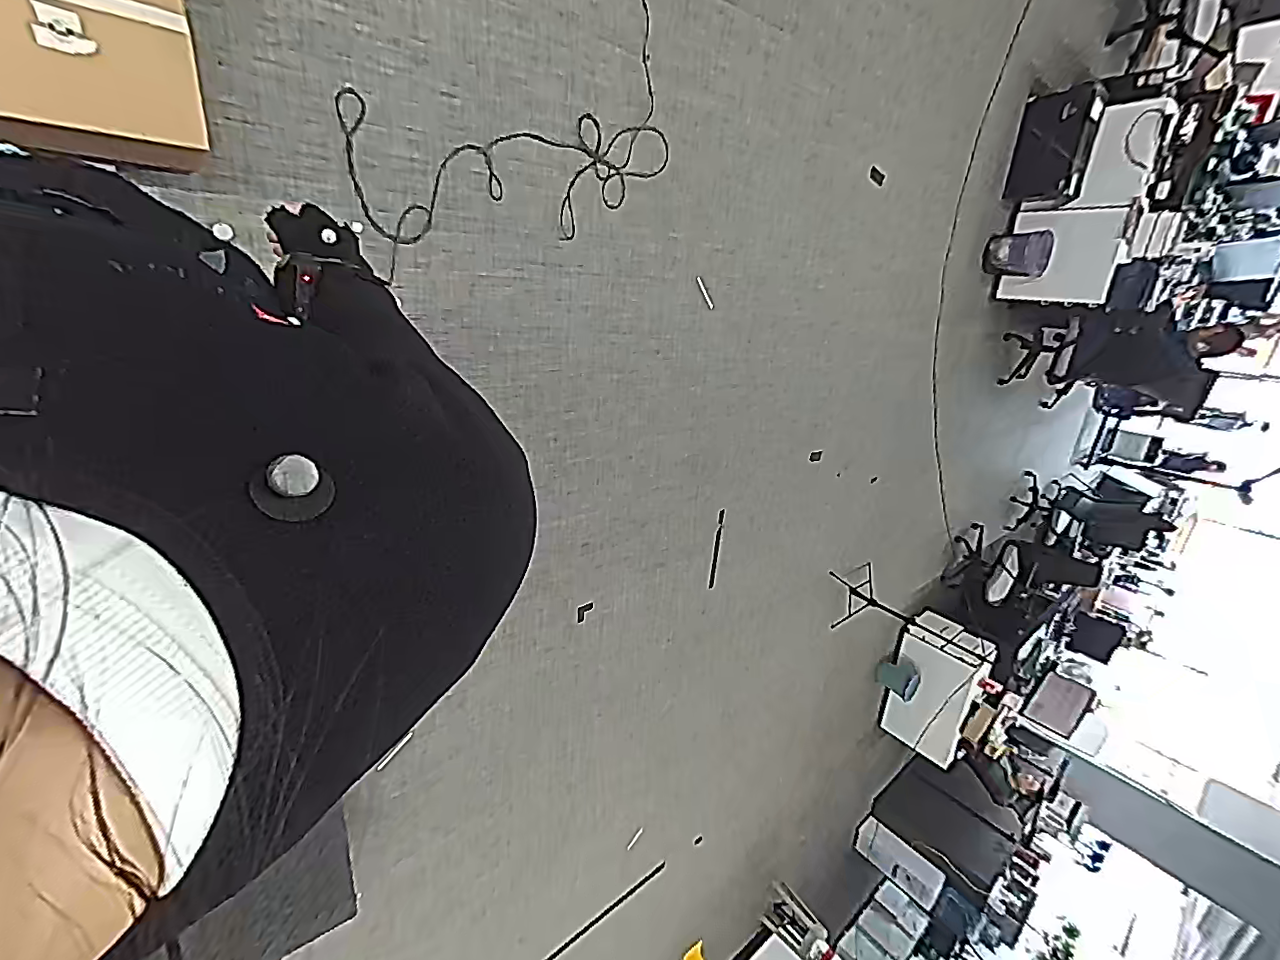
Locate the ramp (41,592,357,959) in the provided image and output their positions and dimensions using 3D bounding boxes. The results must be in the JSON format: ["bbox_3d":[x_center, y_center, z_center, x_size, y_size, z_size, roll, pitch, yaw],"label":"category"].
[{"bbox_3d":[-1.034,0.807,1.347,0.509,0.206,0.991,-11,114,-37],"label":"ramp"}]

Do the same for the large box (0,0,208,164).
[{"bbox_3d":[-0.902,-0.667,0.759,0.408,0.320,0.320,-13,117,-39],"label":"large box"}]
